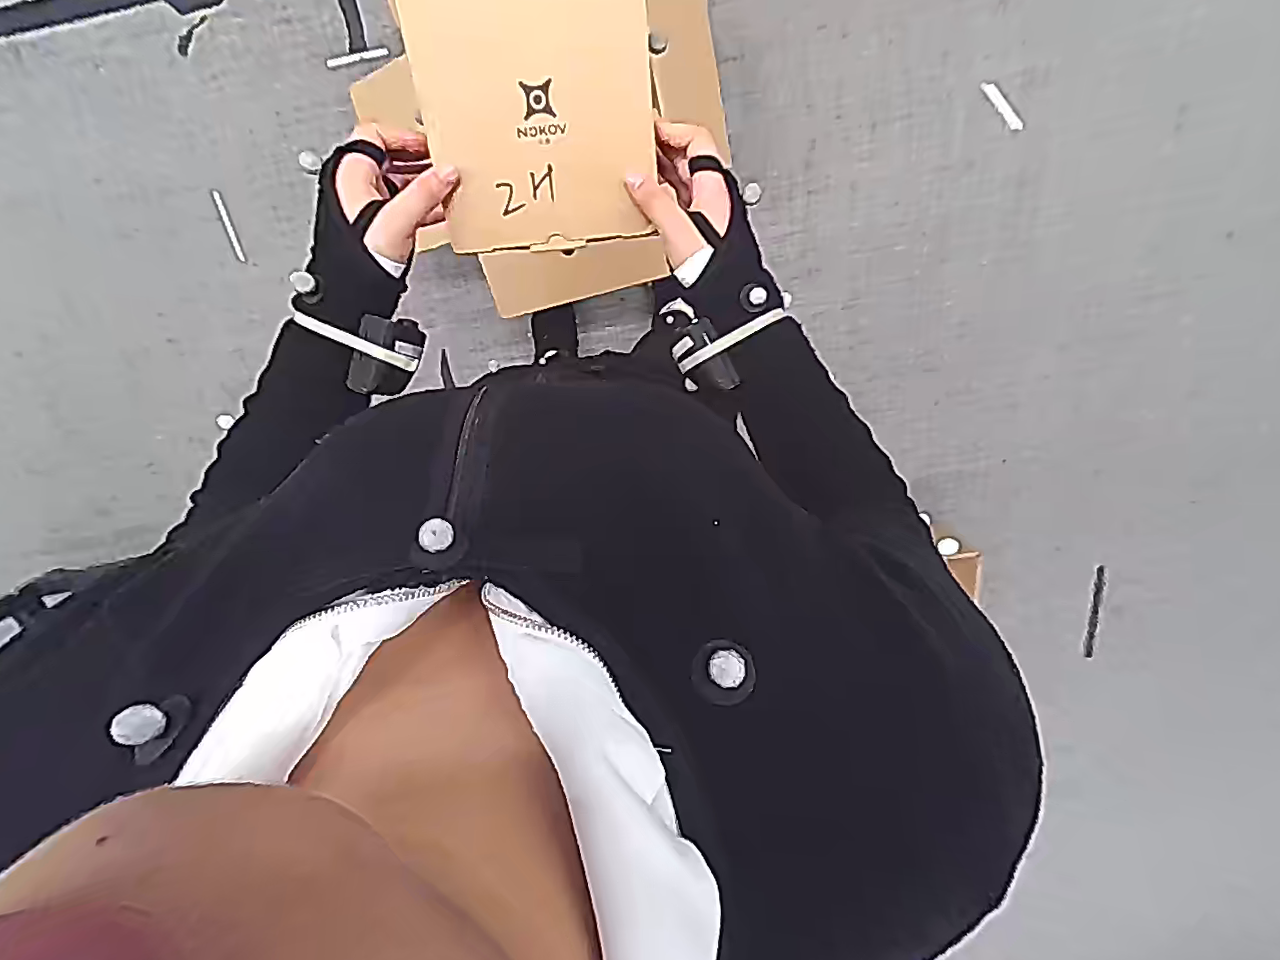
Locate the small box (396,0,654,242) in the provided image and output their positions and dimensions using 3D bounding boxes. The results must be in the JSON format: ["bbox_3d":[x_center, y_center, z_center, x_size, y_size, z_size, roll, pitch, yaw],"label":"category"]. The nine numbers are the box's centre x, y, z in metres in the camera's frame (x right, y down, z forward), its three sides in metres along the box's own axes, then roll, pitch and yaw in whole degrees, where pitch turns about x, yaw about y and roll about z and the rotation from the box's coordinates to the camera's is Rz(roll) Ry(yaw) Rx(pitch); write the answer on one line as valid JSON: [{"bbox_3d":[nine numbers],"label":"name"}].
[{"bbox_3d":[-0.081,-0.305,0.455,0.168,0.176,0.179,-6,118,-1],"label":"small box"}]
